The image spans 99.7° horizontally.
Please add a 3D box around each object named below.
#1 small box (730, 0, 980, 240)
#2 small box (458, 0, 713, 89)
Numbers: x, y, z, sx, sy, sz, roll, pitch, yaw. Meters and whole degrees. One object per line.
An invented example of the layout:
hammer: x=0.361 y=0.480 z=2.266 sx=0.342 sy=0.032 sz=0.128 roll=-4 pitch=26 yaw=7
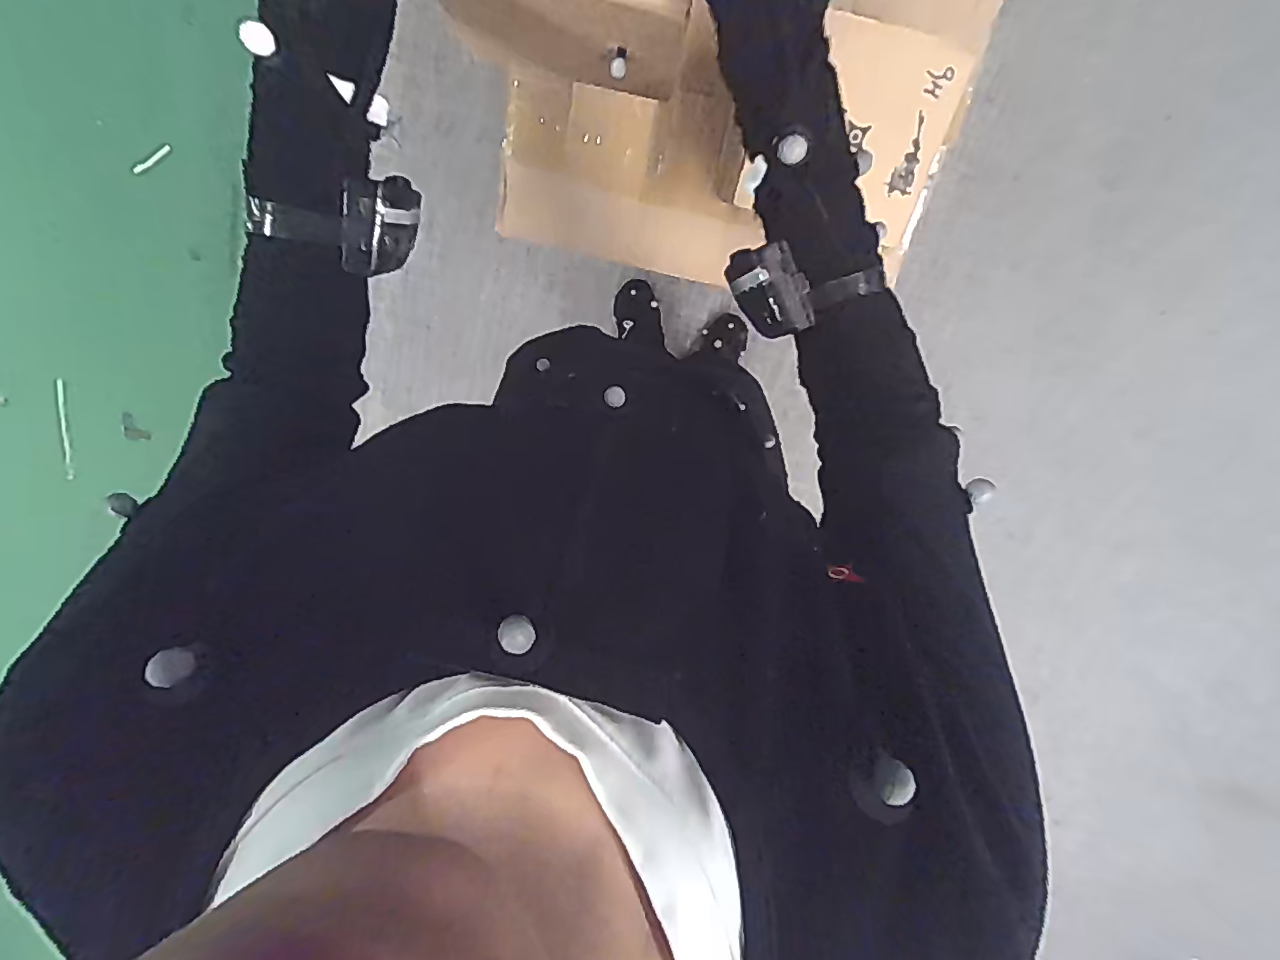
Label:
small box: x=0.202 y=-0.365 z=0.575 sx=0.179 sy=0.176 sz=0.168 roll=14 pitch=117 yaw=-2
small box: x=-0.030 y=-0.396 z=0.364 sx=0.179 sy=0.176 sz=0.168 roll=9 pitch=108 yaw=-3
